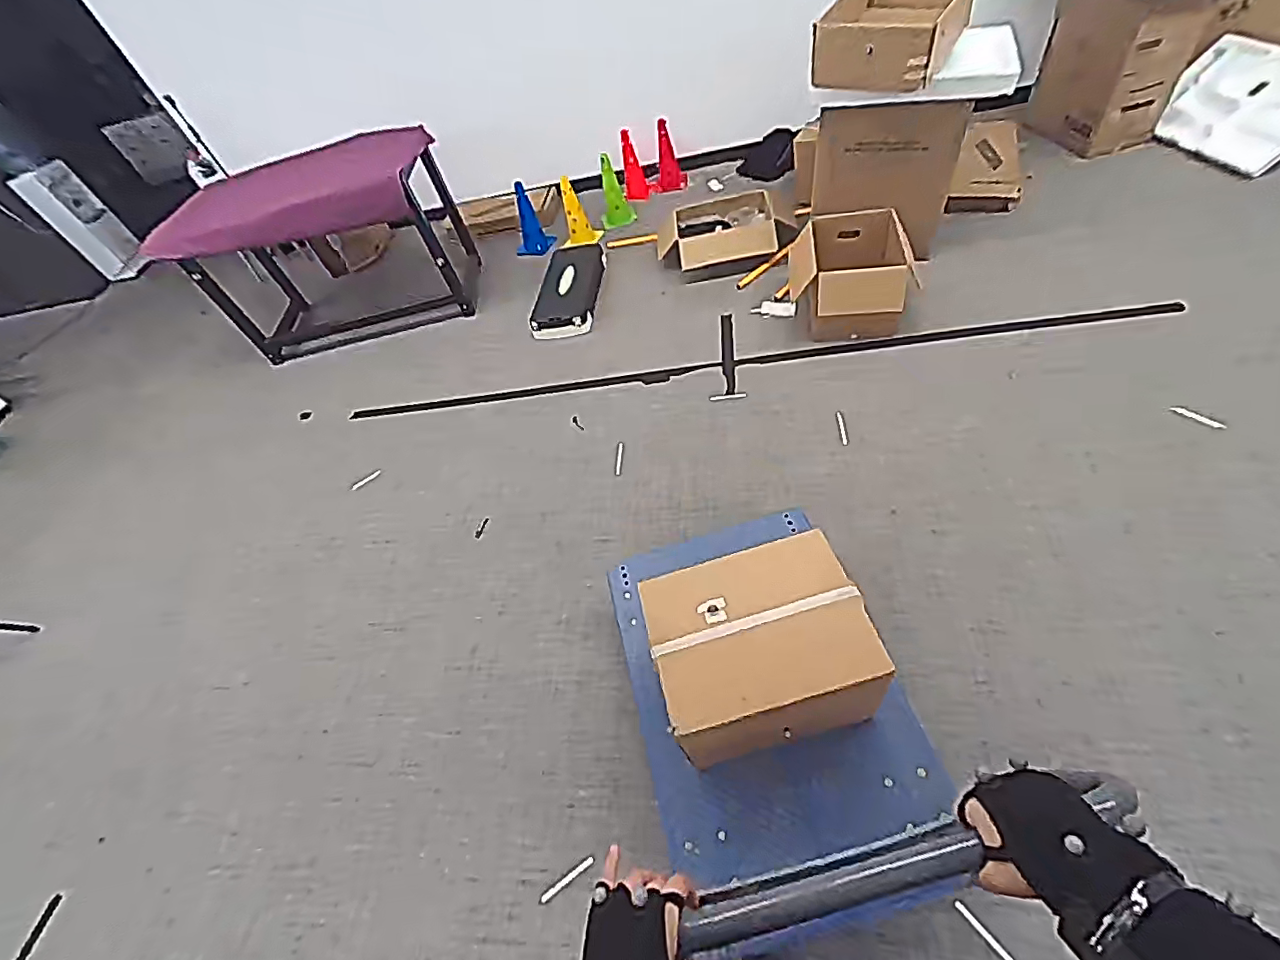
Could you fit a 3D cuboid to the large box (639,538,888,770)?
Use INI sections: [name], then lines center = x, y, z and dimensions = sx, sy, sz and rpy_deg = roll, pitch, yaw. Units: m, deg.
[large box]
center = 0.252, 0.383, 1.166
dimensions = 0.408, 0.320, 0.320
rpy_deg = -18, 50, 2
